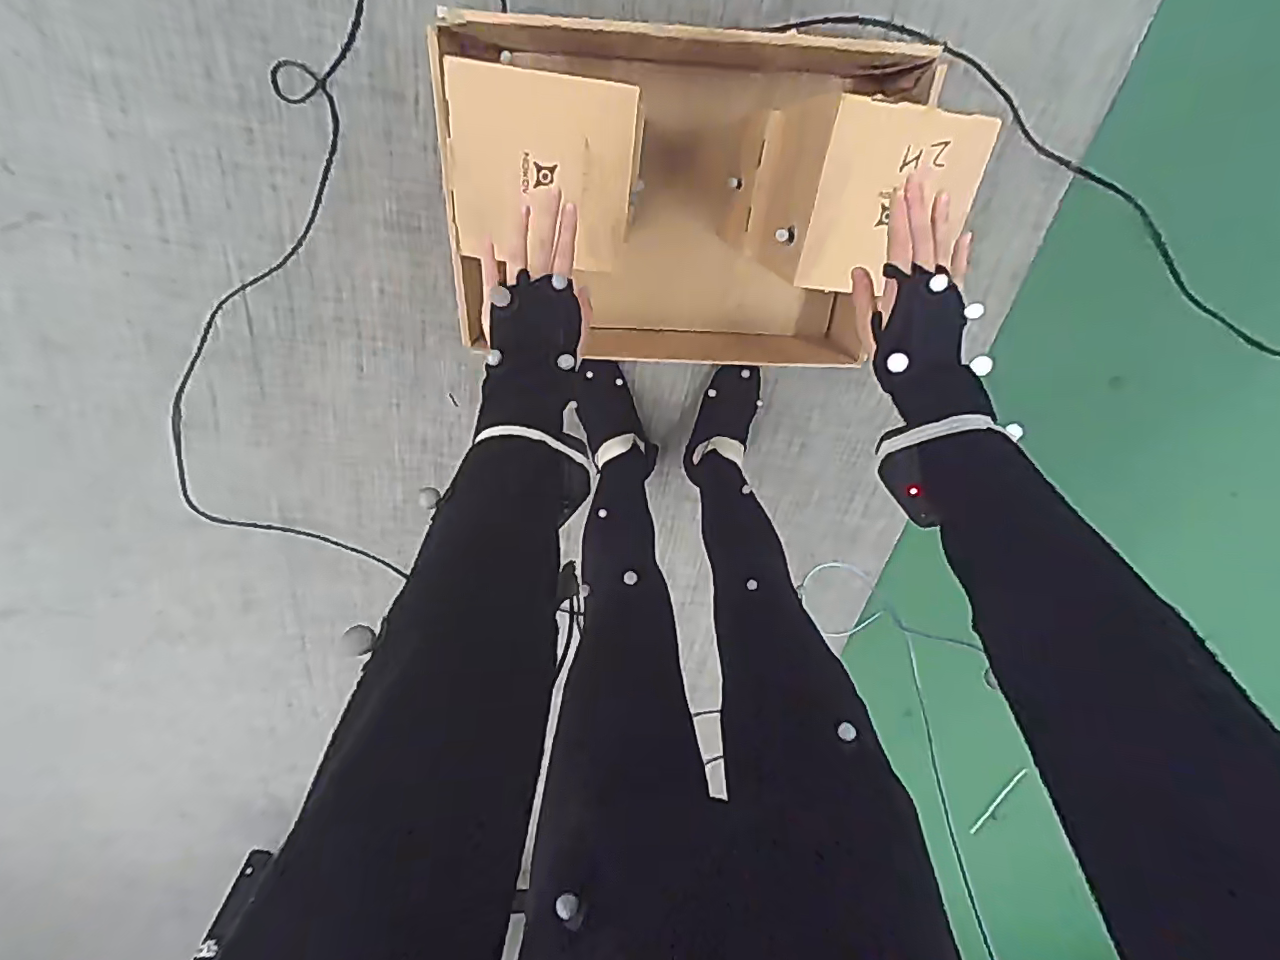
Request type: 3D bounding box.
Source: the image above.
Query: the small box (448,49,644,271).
[{"bbox_3d":[-0.098,-0.339,0.588,0.179,0.176,0.168,5,121,-8],"label":"small box"}]

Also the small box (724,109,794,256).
[{"bbox_3d":[0.227,-0.404,0.761,0.179,0.176,0.168,5,120,-6],"label":"small box"}]

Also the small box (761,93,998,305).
[{"bbox_3d":[0.251,-0.317,0.621,0.168,0.176,0.179,5,119,-7],"label":"small box"}]
